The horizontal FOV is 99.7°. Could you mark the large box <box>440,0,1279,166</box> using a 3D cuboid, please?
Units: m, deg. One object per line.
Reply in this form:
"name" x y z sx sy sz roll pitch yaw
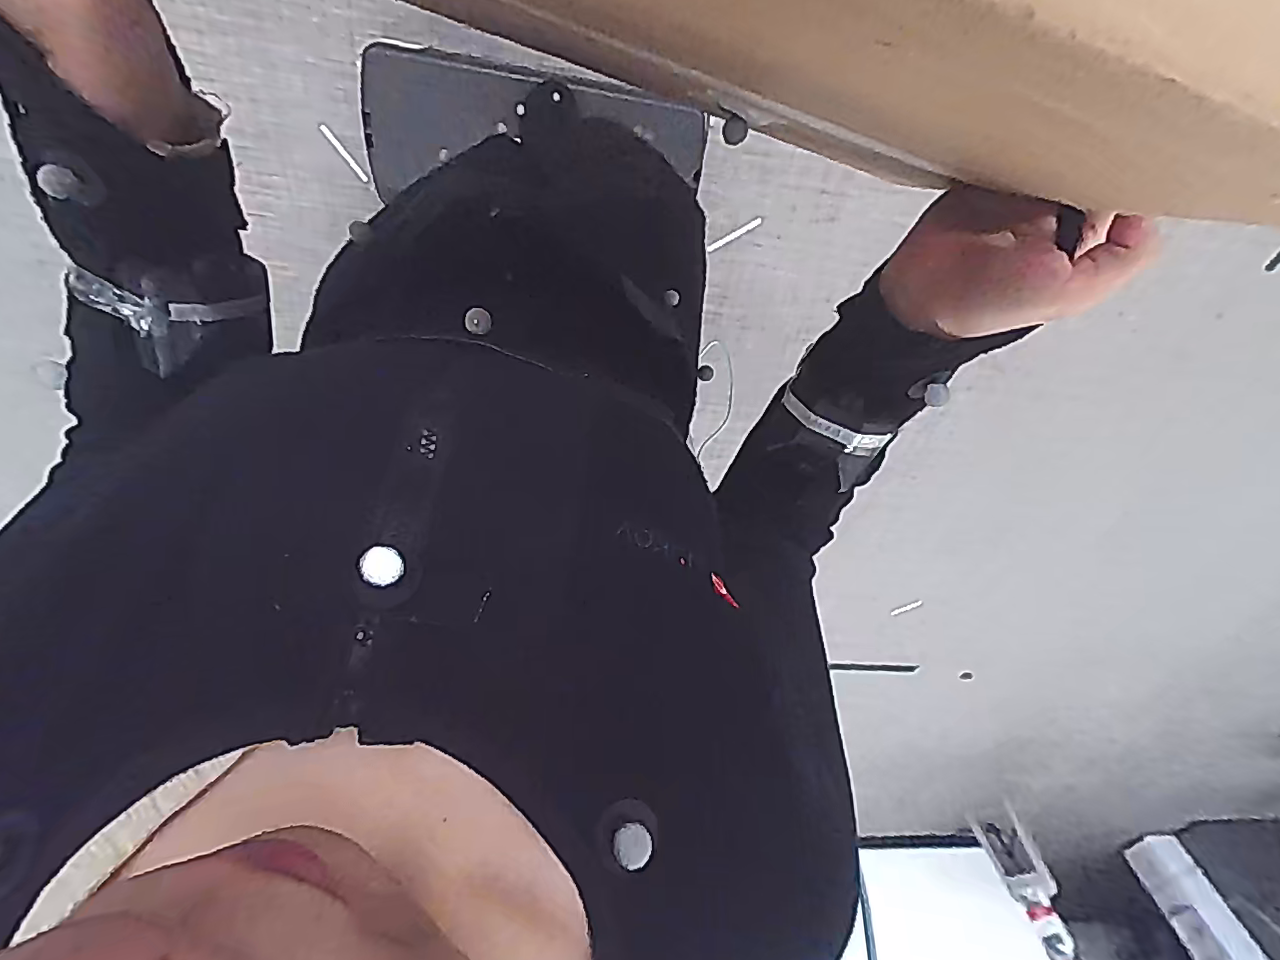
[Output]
"large box" 0.014 -0.308 0.126 0.408 0.320 0.320 12 122 -8
